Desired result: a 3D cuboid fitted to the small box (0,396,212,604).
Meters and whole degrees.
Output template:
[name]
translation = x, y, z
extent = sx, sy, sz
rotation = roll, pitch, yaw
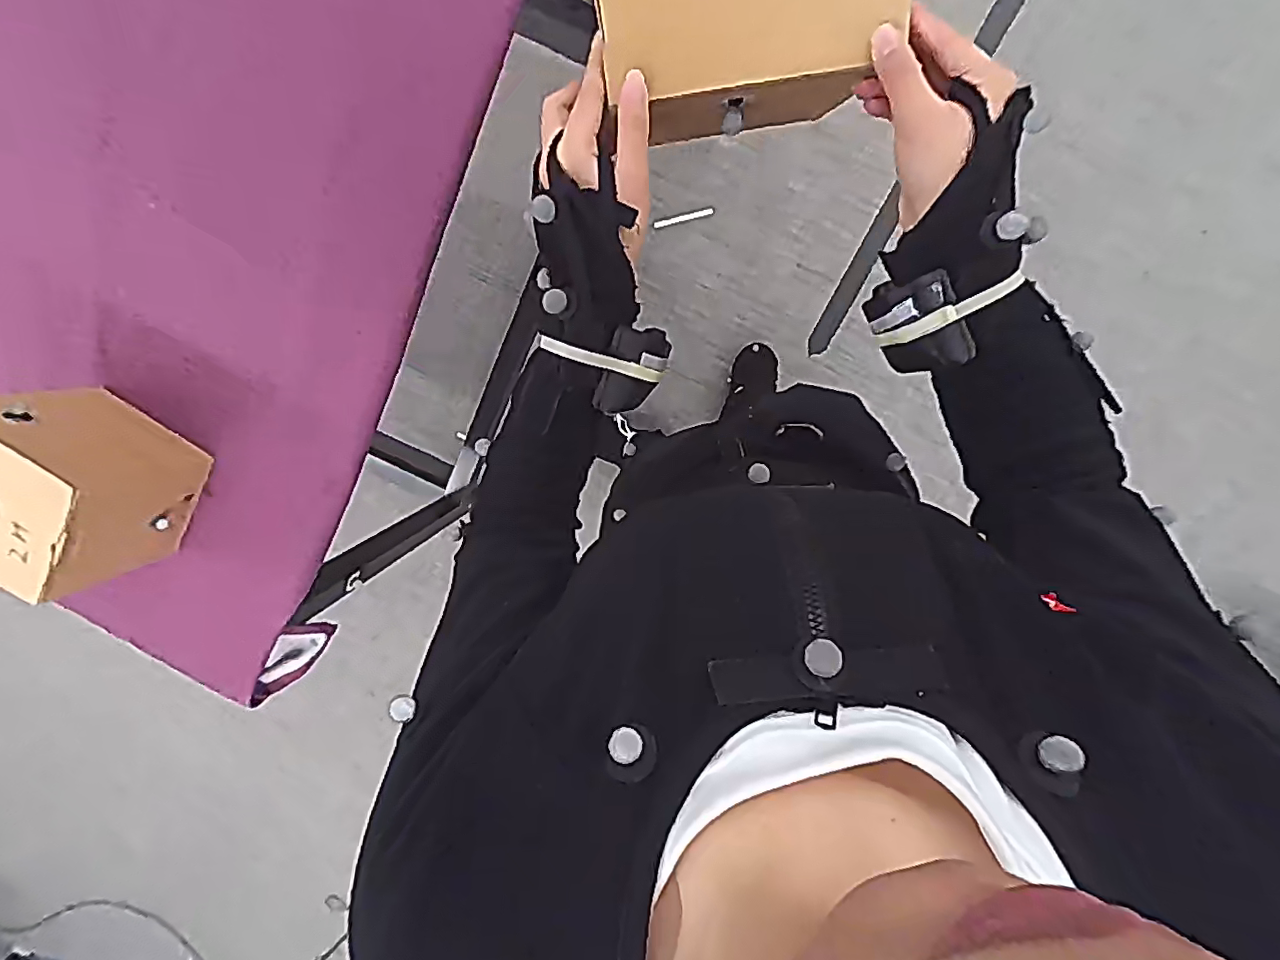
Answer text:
[small box]
translation = -0.683, 0.011, 0.652
extent = 0.179, 0.176, 0.168
rotation = 33, 104, -2
